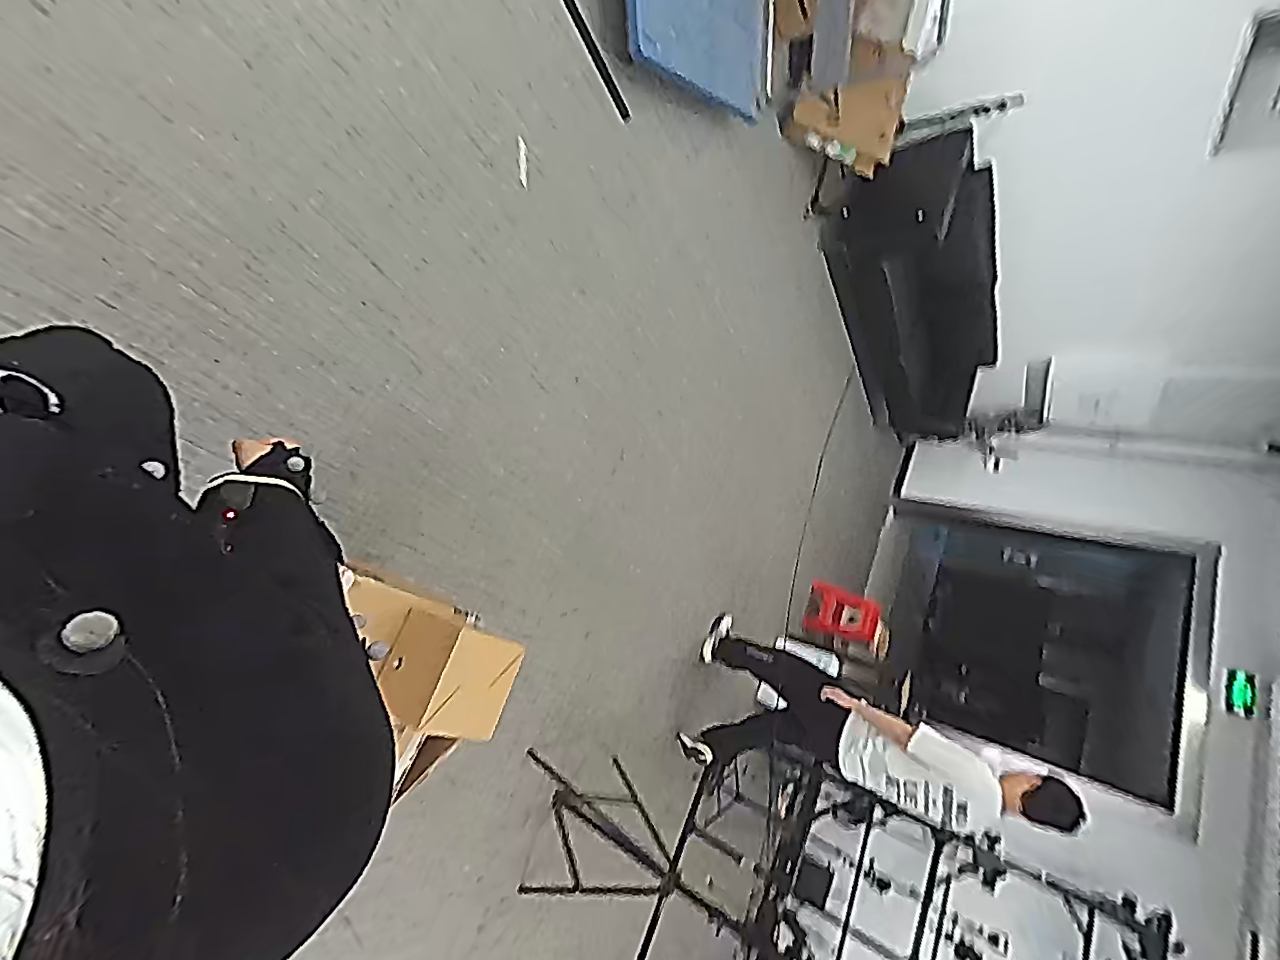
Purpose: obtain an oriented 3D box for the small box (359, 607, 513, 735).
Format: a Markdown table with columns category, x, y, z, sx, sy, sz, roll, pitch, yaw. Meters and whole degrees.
| category | x | y | z | sx | sy | sz | roll | pitch | yaw |
| --- | --- | --- | --- | --- | --- | --- | --- | --- | --- |
| small box | -0.372 | 0.356 | 1.000 | 0.168 | 0.176 | 0.179 | 42 | 63 | -48 |
